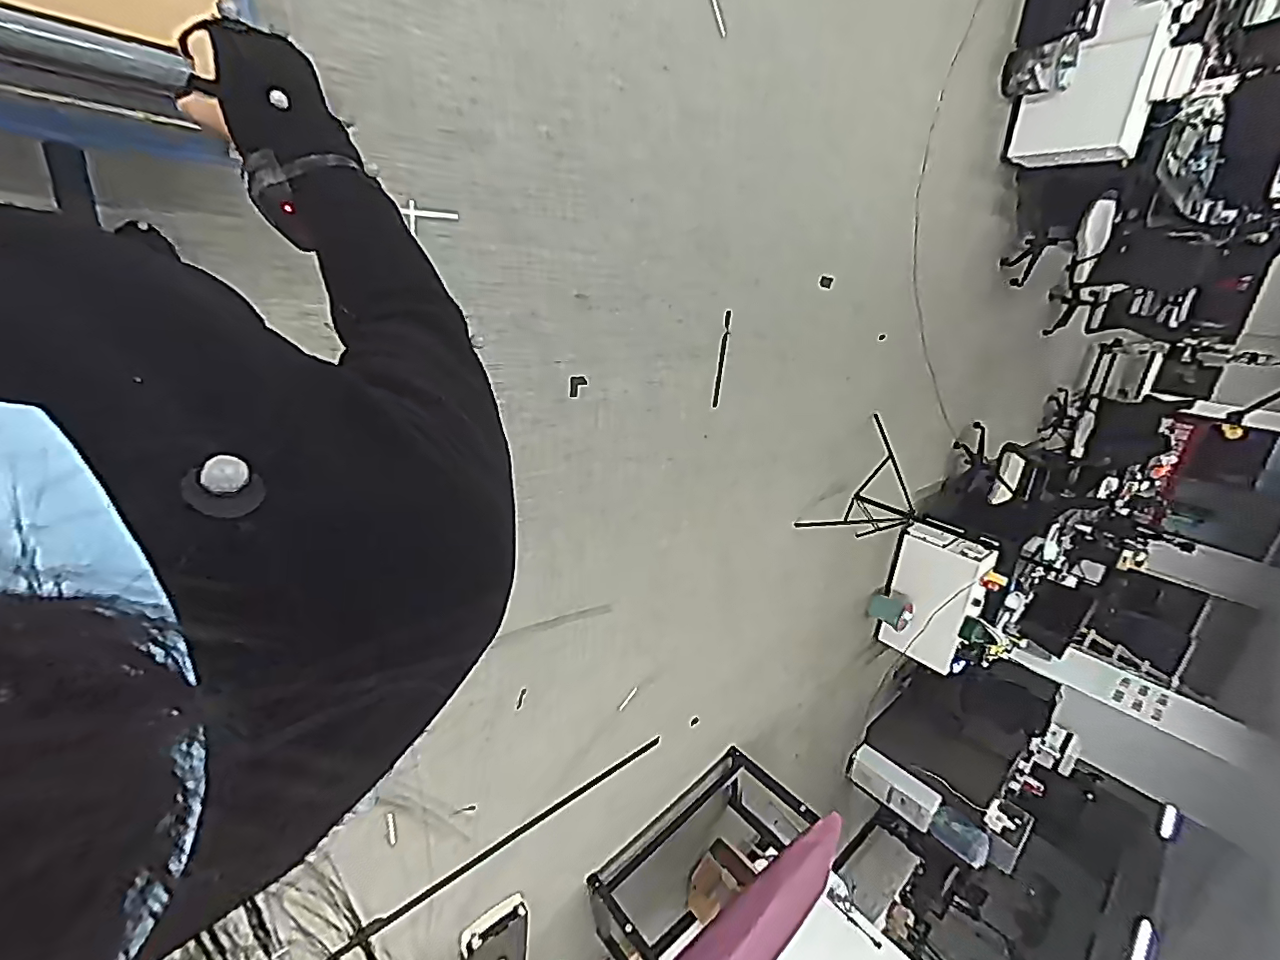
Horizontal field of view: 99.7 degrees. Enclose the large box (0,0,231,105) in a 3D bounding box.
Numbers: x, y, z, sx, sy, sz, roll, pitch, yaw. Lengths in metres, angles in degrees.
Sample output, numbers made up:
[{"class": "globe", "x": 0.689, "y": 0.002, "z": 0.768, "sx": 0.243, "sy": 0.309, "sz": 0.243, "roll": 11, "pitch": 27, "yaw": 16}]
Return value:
[{"class": "large box", "x": -0.778, "y": -0.695, "z": 0.638, "sx": 0.408, "sy": 0.320, "sz": 0.320, "roll": -13, "pitch": 117, "yaw": -41}]
